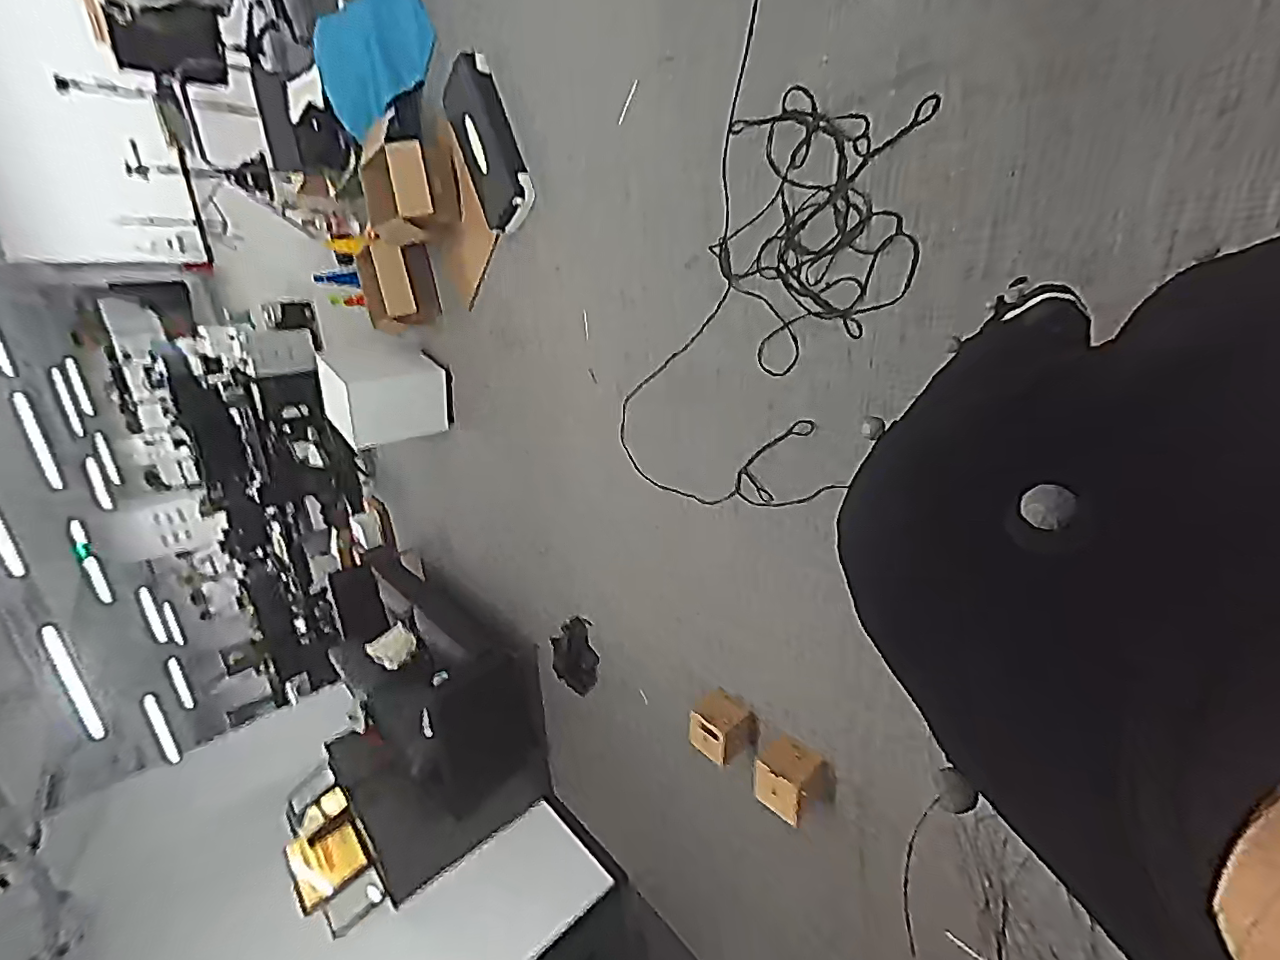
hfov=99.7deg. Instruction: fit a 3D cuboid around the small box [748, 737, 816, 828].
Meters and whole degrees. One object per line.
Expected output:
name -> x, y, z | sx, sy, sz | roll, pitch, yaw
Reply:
small box -> 0.490, 1.033, 1.860 | 0.168, 0.176, 0.179 | 17, 117, 46
